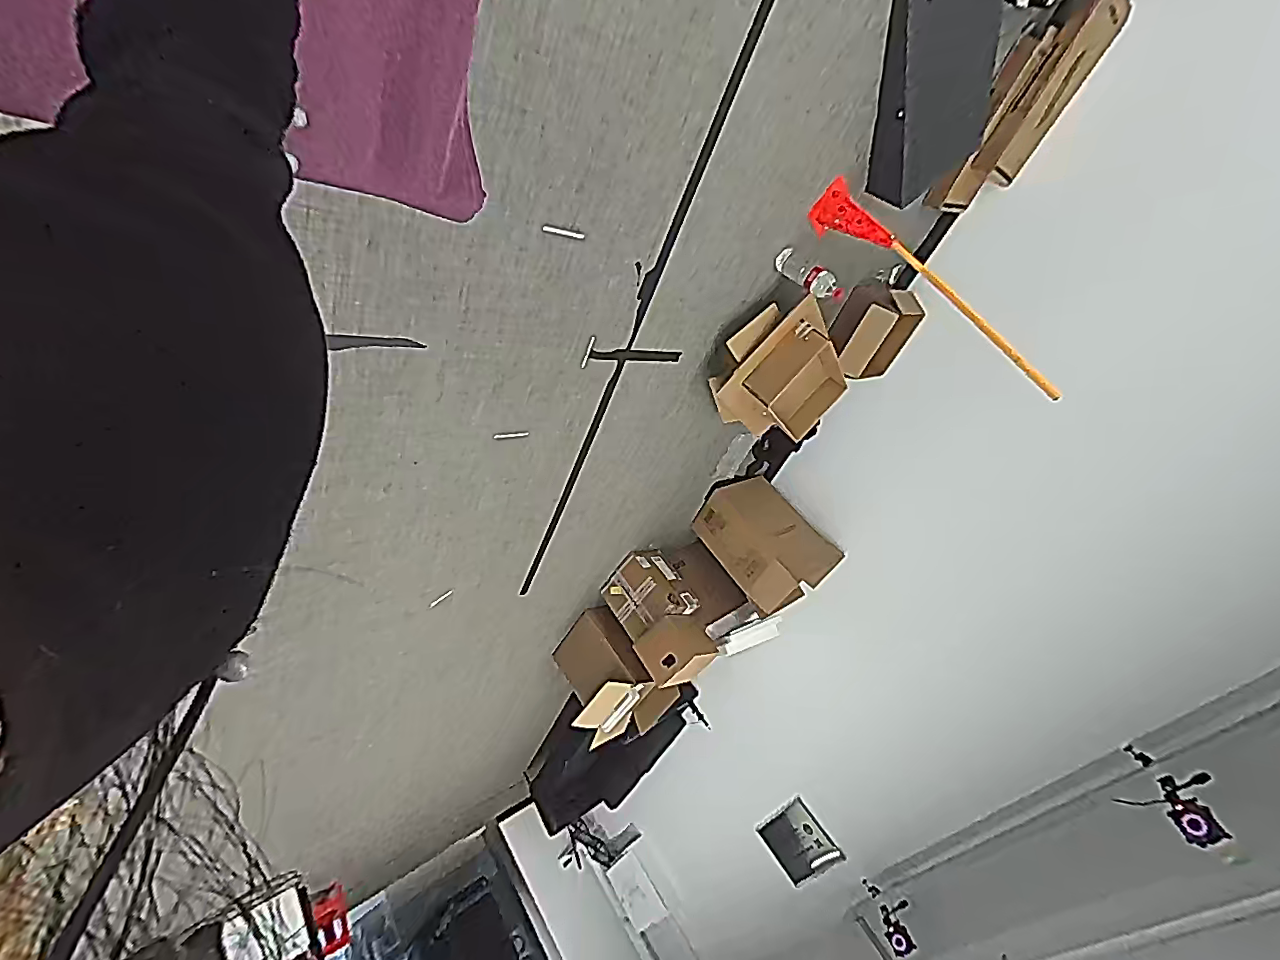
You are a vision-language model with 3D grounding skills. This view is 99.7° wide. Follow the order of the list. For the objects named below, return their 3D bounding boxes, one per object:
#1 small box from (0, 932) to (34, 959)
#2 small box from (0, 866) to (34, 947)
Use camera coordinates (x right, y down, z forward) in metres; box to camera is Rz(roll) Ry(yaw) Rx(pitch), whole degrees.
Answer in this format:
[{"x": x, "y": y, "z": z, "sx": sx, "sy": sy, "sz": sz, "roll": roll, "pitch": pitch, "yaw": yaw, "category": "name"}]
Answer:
[{"x": -1.581, "y": 1.236, "z": 1.292, "sx": 0.168, "sy": 0.176, "sz": 0.179, "roll": -9, "pitch": 139, "yaw": -45, "category": "small box"}, {"x": -1.675, "y": 1.130, "z": 1.372, "sx": 0.168, "sy": 0.176, "sz": 0.179, "roll": -6, "pitch": 136, "yaw": -47, "category": "small box"}]
